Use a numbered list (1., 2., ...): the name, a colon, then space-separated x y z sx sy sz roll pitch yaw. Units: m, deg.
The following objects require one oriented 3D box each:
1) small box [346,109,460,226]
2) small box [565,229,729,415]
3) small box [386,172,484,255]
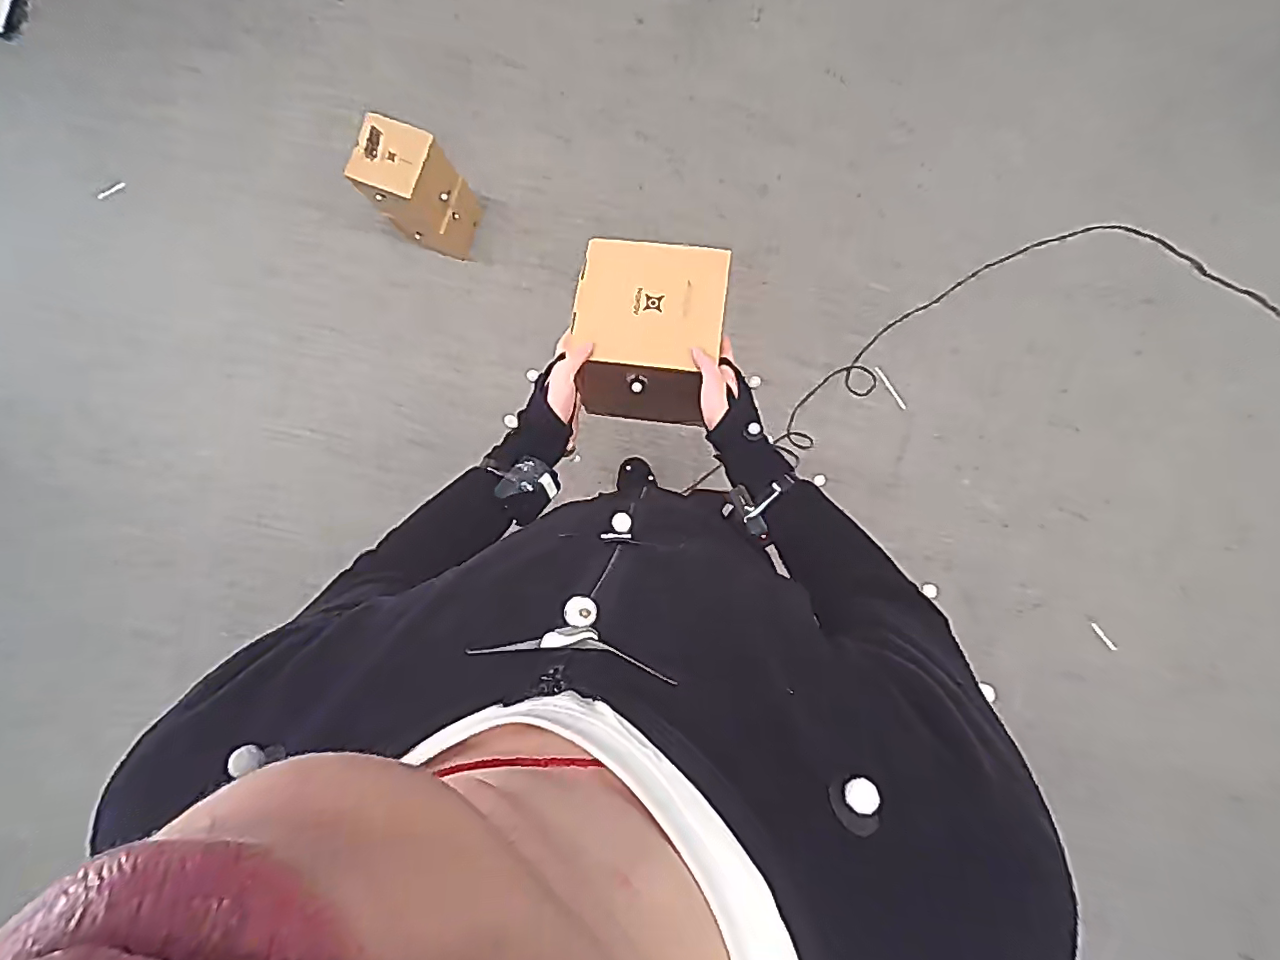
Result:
1. small box: -0.585 -0.773 1.357 0.179 0.176 0.168 21 90 3
2. small box: 0.013 -0.196 0.707 0.179 0.176 0.168 7 74 3
3. small box: -0.568 -0.763 1.521 0.179 0.176 0.168 20 89 4
